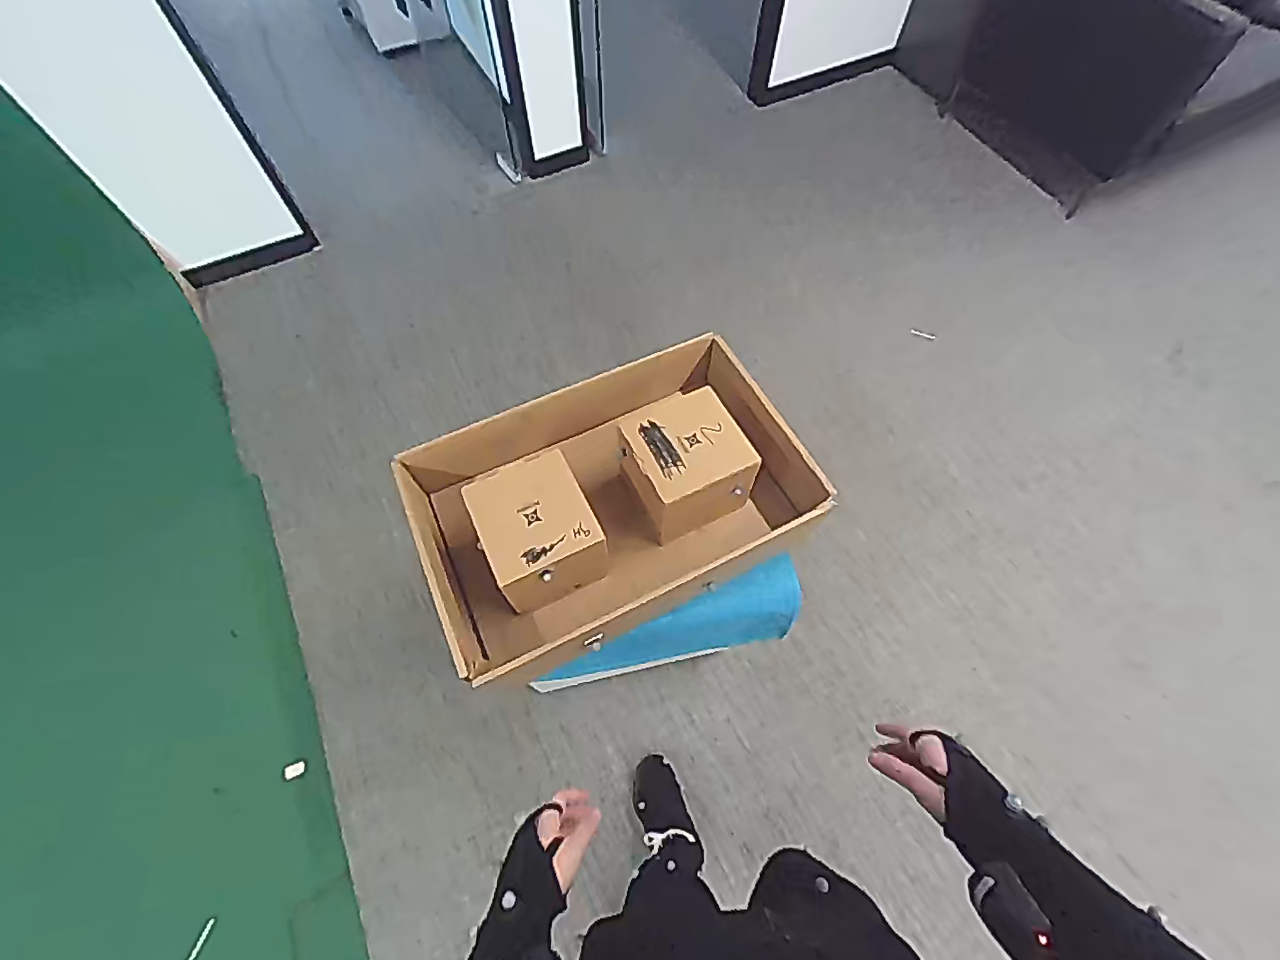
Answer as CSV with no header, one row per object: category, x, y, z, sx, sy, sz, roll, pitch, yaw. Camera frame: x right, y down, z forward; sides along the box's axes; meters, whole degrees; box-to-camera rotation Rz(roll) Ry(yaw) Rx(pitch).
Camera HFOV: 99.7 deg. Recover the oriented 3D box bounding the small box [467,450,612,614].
small box,-0.155,0.088,0.869,0.168,0.176,0.179,-24,64,-12
